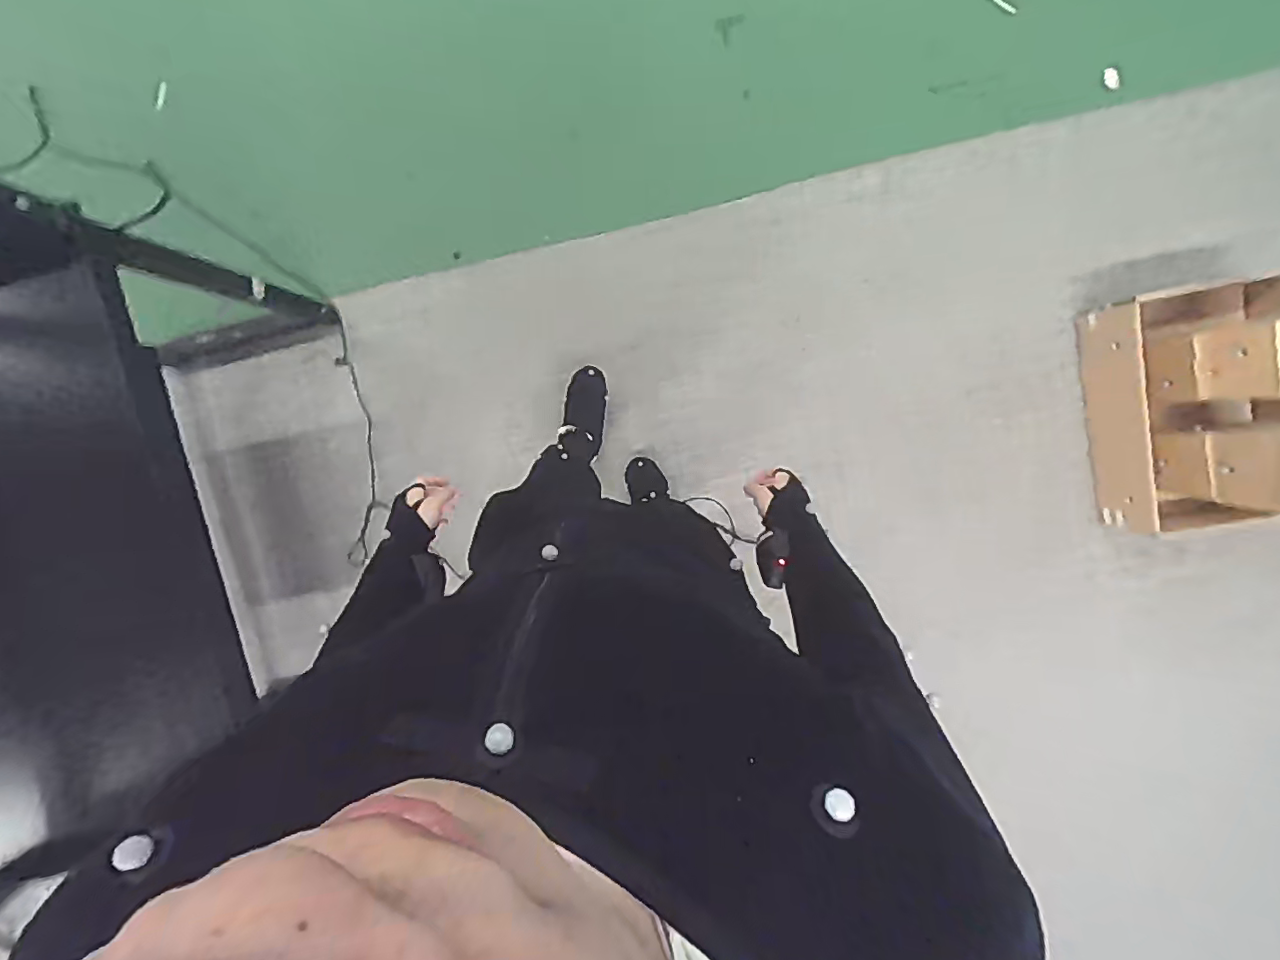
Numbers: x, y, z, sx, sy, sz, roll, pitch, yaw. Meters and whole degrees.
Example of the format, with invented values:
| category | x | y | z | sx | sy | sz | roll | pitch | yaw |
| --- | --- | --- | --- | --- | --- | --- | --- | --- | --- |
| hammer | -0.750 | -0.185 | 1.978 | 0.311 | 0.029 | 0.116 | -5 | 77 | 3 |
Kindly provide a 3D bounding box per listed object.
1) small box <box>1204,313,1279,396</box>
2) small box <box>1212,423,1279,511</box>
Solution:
| category | x | y | z | sx | sy | sz | roll | pitch | yaw |
| --- | --- | --- | --- | --- | --- | --- | --- | --- | --- |
| small box | 1.433 | -0.287 | 1.217 | 0.179 | 0.176 | 0.168 | -13 | 96 | 4 |
| small box | 1.473 | -0.035 | 1.234 | 0.168 | 0.176 | 0.179 | -8 | 94 | 5 |
